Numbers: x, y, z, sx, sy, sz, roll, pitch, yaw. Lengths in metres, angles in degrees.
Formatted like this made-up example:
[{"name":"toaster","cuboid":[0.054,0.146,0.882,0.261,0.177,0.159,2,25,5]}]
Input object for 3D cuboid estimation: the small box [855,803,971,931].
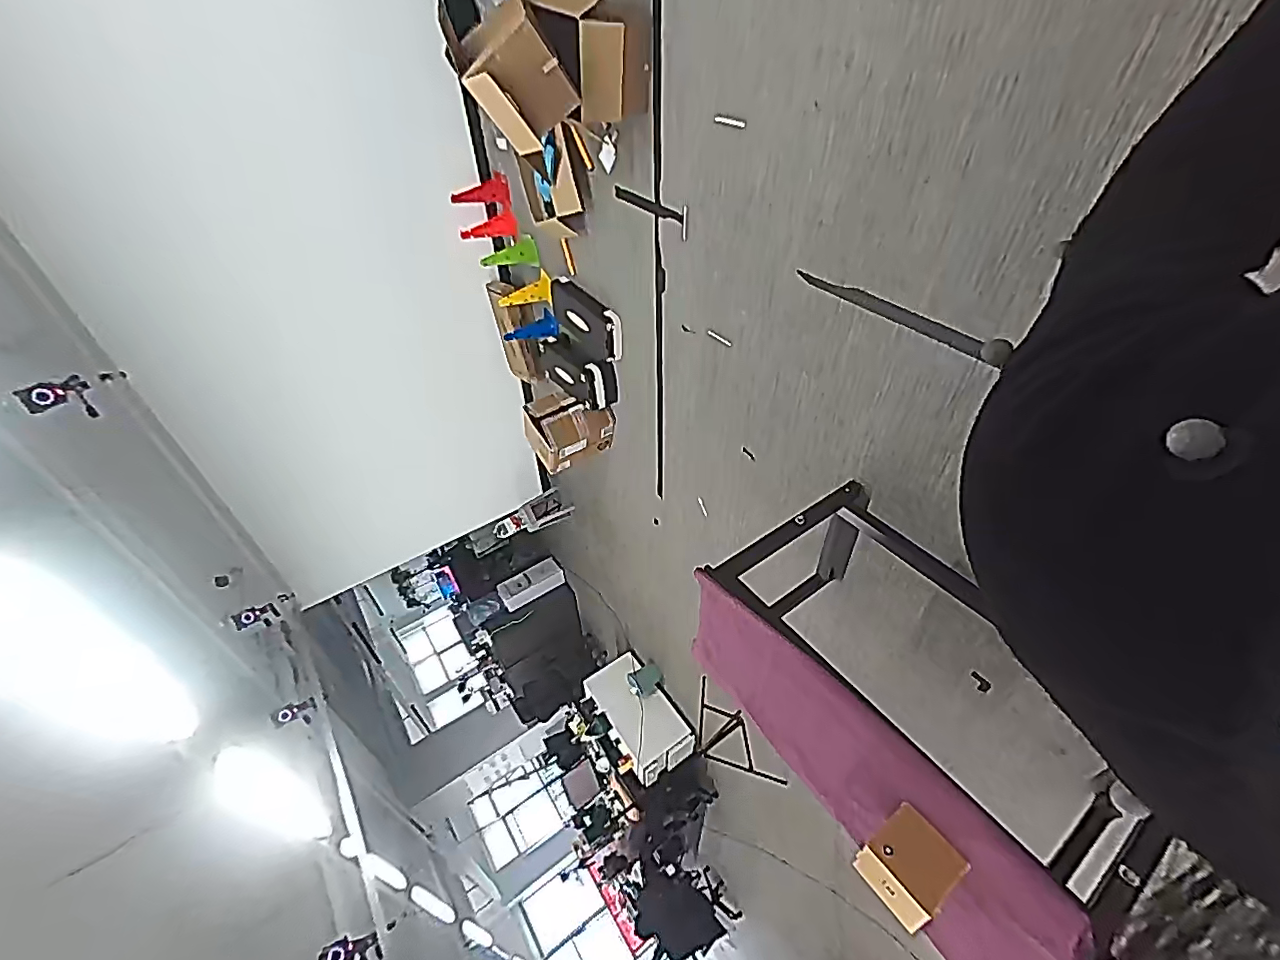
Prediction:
[{"name":"small box","cuboid":[0.668,0.947,1.330,0.179,0.176,0.168,42,148,41]}]
